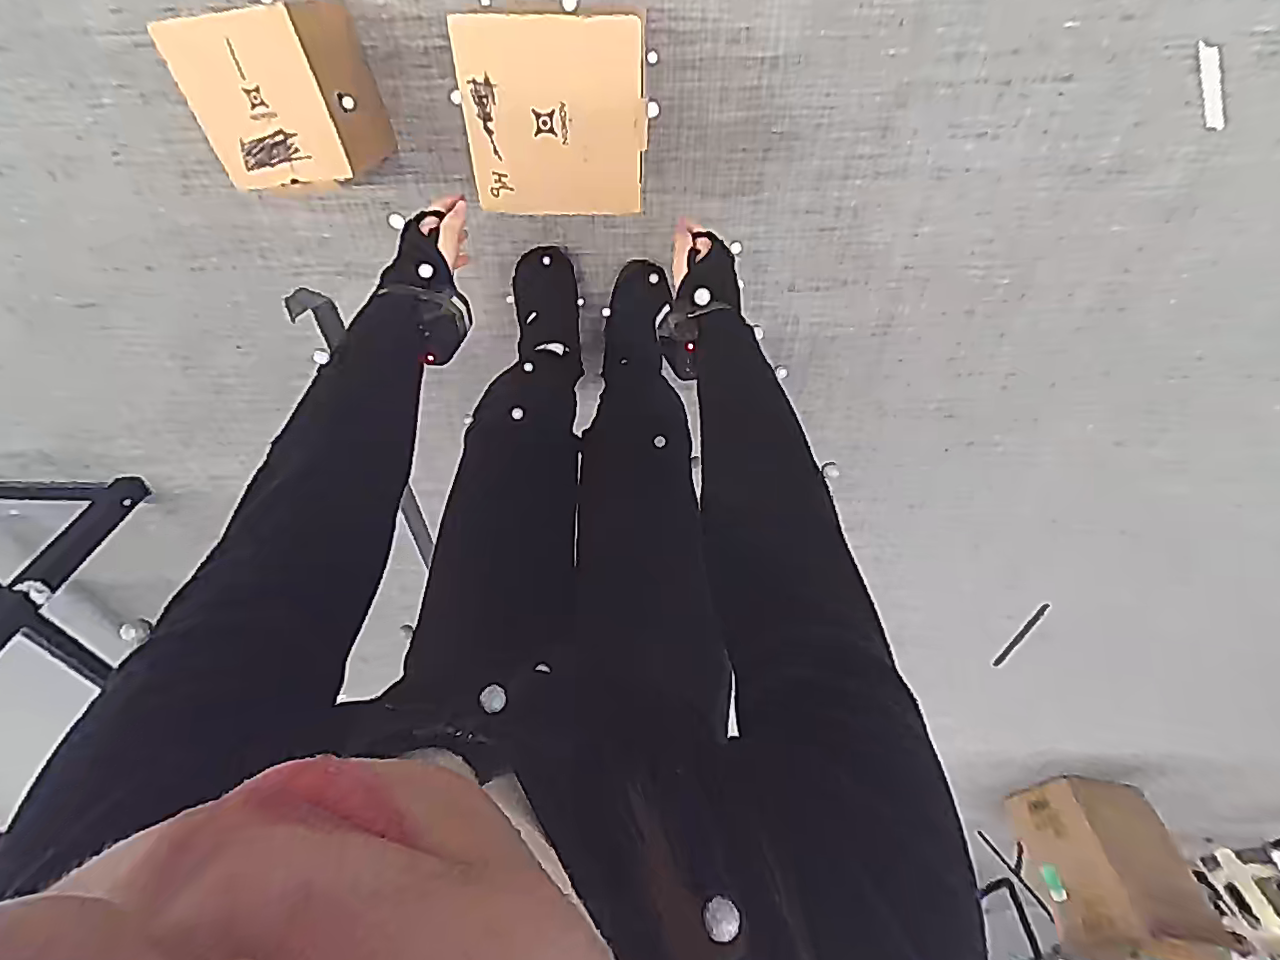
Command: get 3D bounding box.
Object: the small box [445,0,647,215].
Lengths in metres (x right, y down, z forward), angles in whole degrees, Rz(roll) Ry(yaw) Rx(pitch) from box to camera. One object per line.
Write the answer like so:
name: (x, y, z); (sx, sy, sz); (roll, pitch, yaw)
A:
small box: (-0.085, -0.396, 0.575); (0.179, 0.176, 0.168); (0, 133, -1)

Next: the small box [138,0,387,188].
small box: (-0.459, -0.503, 0.698); (0.168, 0.176, 0.179); (-4, 133, 4)
